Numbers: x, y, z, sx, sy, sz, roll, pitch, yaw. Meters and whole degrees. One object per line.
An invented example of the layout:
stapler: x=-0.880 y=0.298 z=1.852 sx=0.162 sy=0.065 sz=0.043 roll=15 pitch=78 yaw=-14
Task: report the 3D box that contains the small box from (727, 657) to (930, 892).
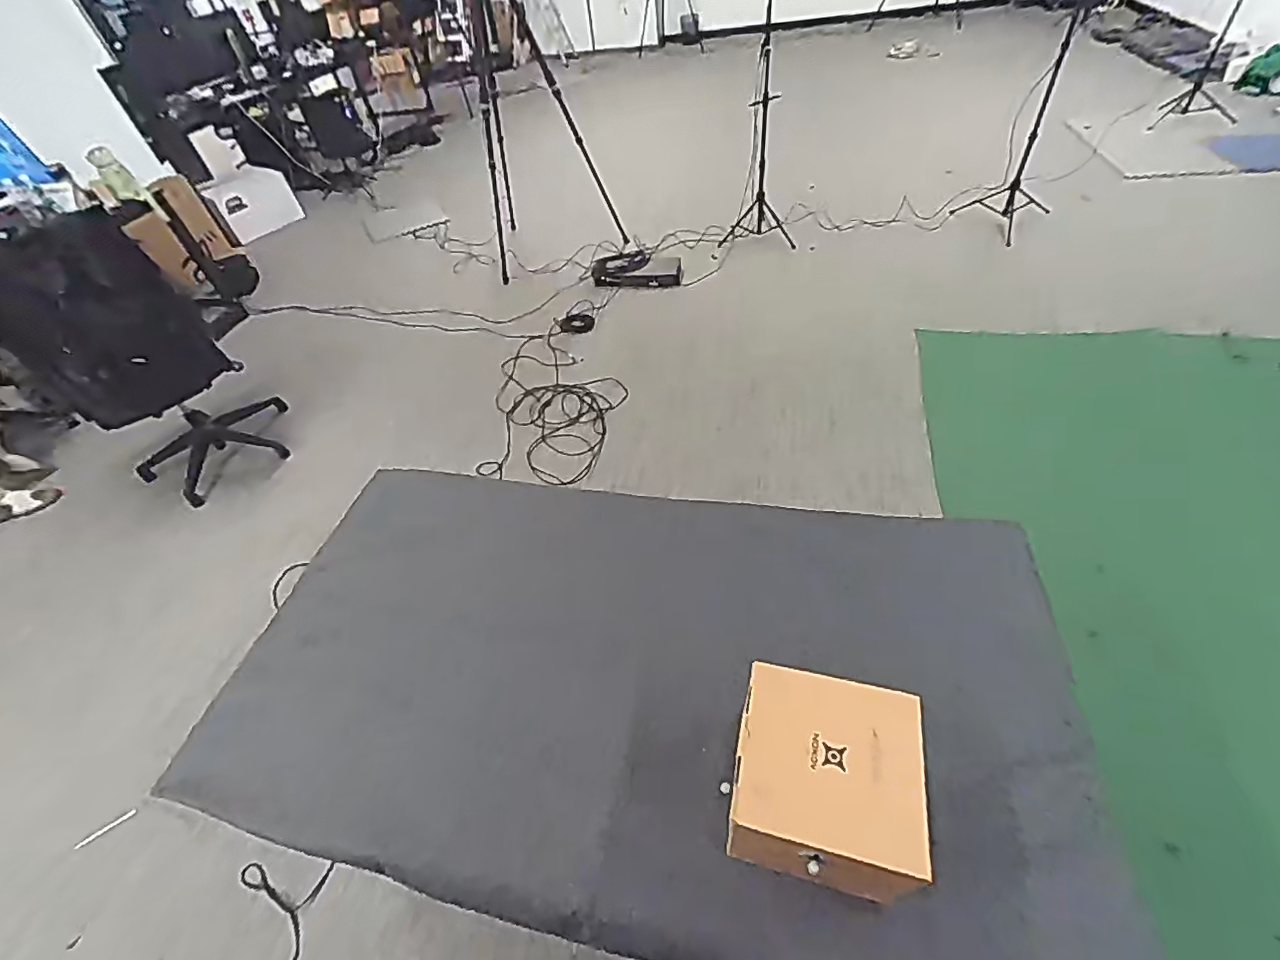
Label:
small box: x=0.193 y=0.319 z=0.587 sx=0.179 sy=0.176 sz=0.168 roll=8 pitch=49 yaw=15
